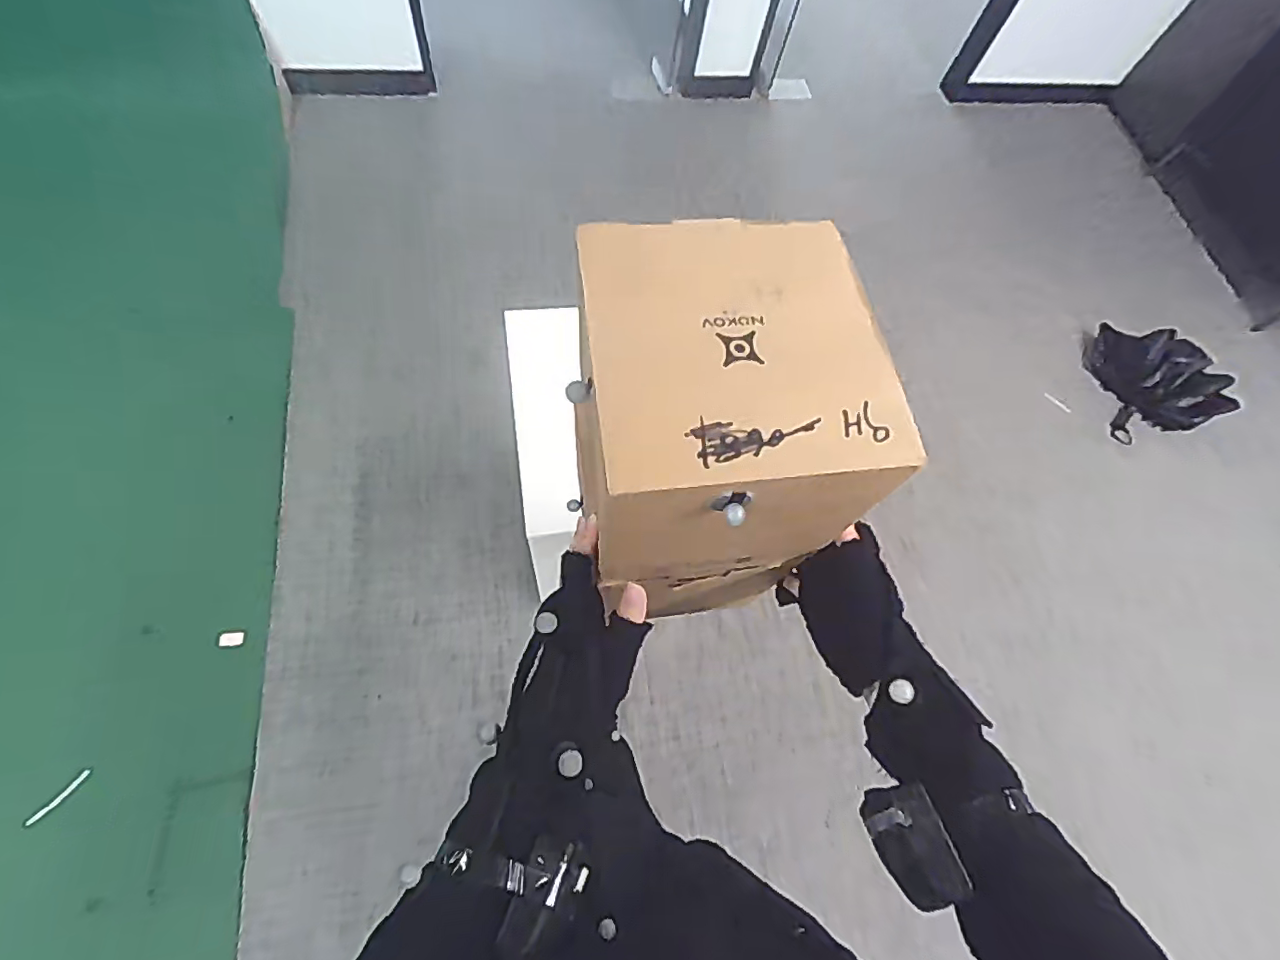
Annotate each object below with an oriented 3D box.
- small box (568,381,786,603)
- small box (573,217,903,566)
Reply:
[{"bbox_3d":[0.023,0.016,0.526,0.168,0.176,0.179,-6,66,-7],"label":"small box"},{"bbox_3d":[0.041,-0.053,0.380,0.168,0.176,0.179,-6,66,-7],"label":"small box"}]
